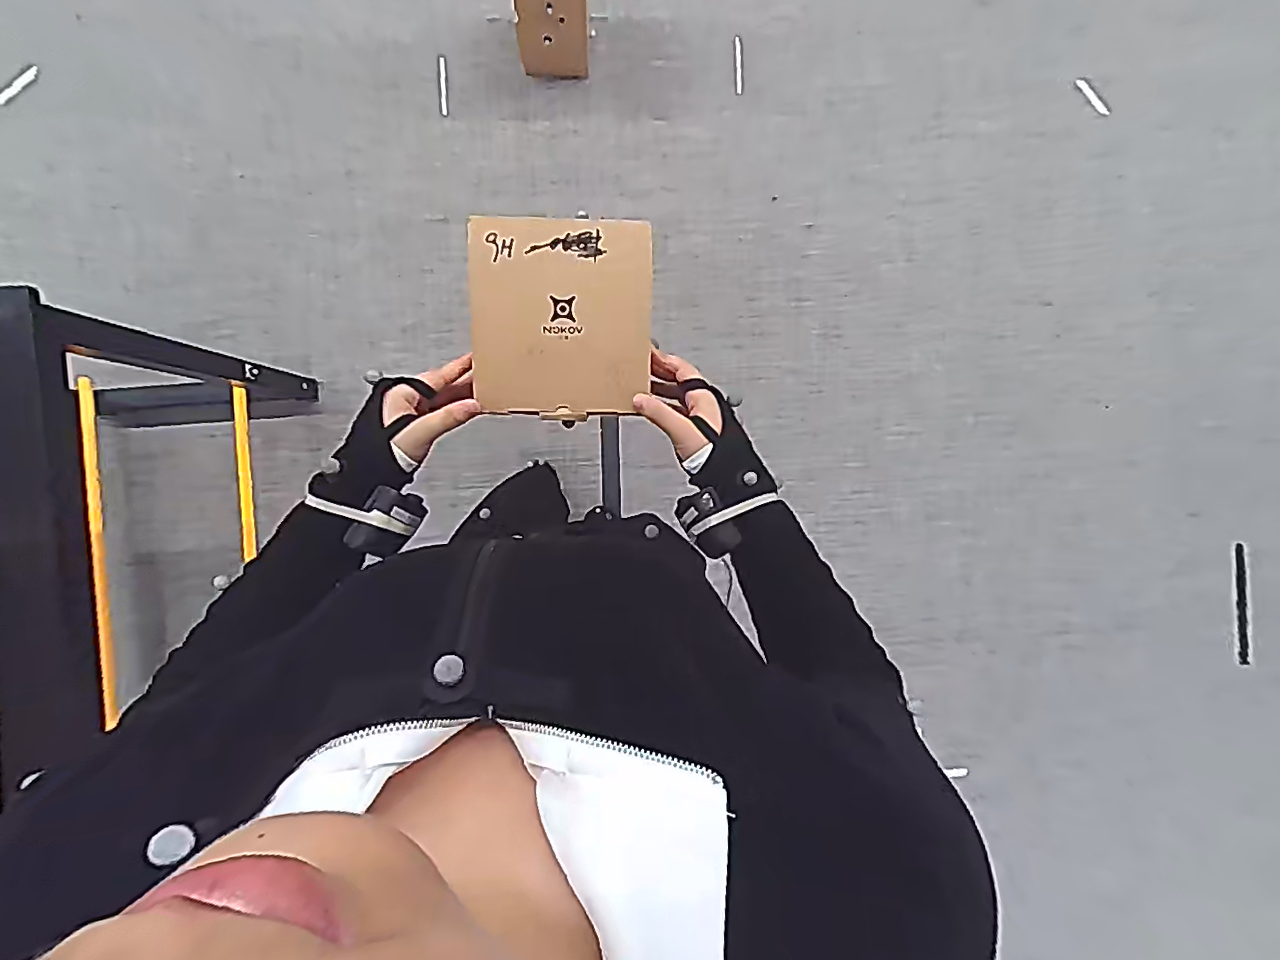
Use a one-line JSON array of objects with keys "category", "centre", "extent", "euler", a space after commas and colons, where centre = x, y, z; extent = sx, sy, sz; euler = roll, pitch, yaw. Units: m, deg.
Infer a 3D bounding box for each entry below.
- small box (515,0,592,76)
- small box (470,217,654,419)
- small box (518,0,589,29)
[{"category": "small box", "centre": [-0.213, -1.167, 1.371], "extent": [0.179, 0.176, 0.168], "euler": [1, 92, -4]}, {"category": "small box", "centre": [-0.075, -0.160, 0.571], "extent": [0.168, 0.176, 0.179], "euler": [0, 100, -4]}, {"category": "small box", "centre": [-0.198, -1.168, 1.206], "extent": [0.168, 0.176, 0.179], "euler": [1, 92, -3]}]
